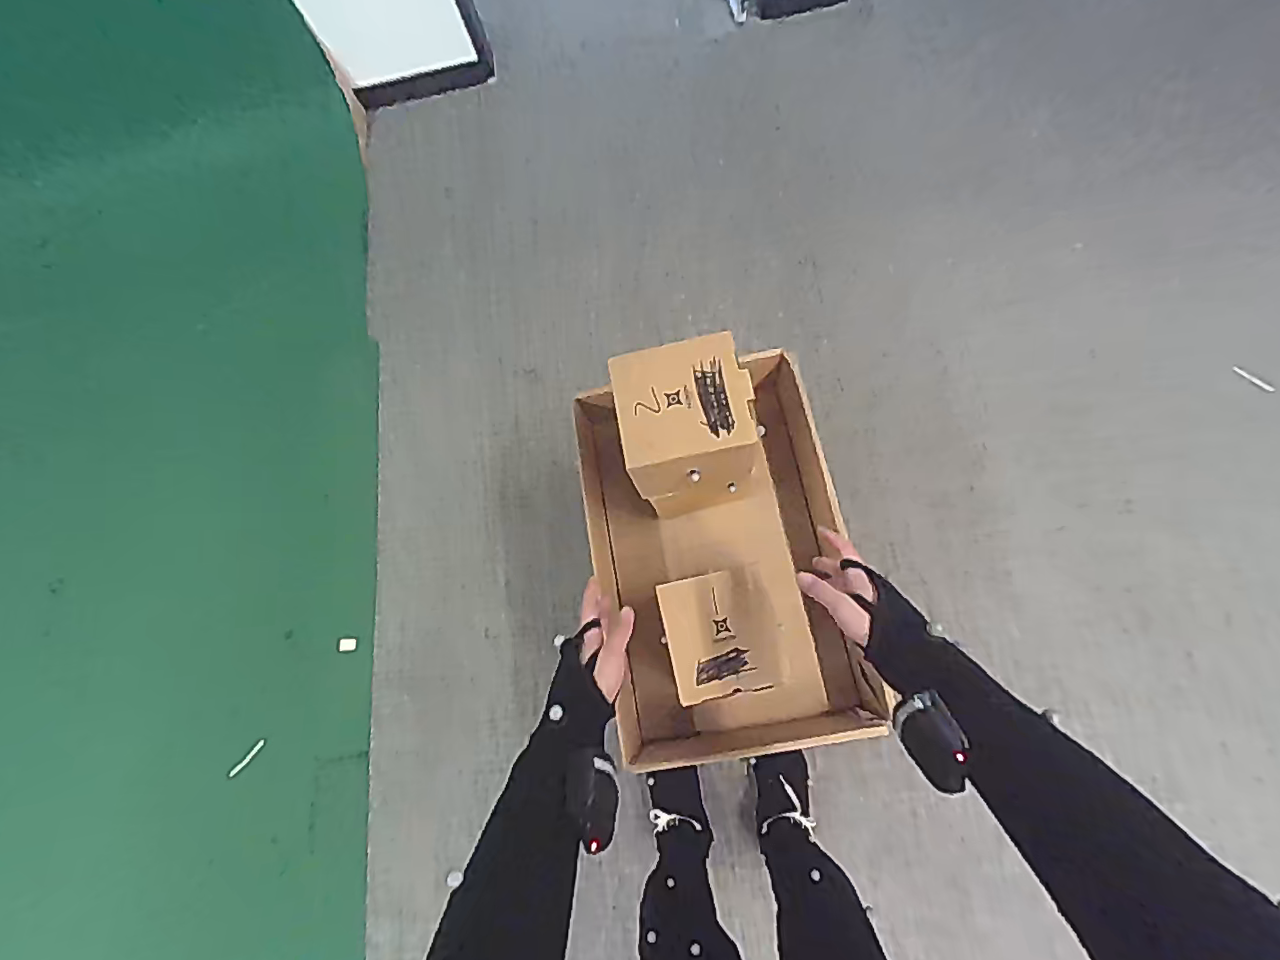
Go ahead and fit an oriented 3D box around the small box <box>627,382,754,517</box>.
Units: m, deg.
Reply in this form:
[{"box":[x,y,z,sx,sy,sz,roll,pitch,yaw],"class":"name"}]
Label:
[{"box":[0.089,-0.043,0.943,0.179,0.176,0.168,-14,73,3],"class":"small box"}]
